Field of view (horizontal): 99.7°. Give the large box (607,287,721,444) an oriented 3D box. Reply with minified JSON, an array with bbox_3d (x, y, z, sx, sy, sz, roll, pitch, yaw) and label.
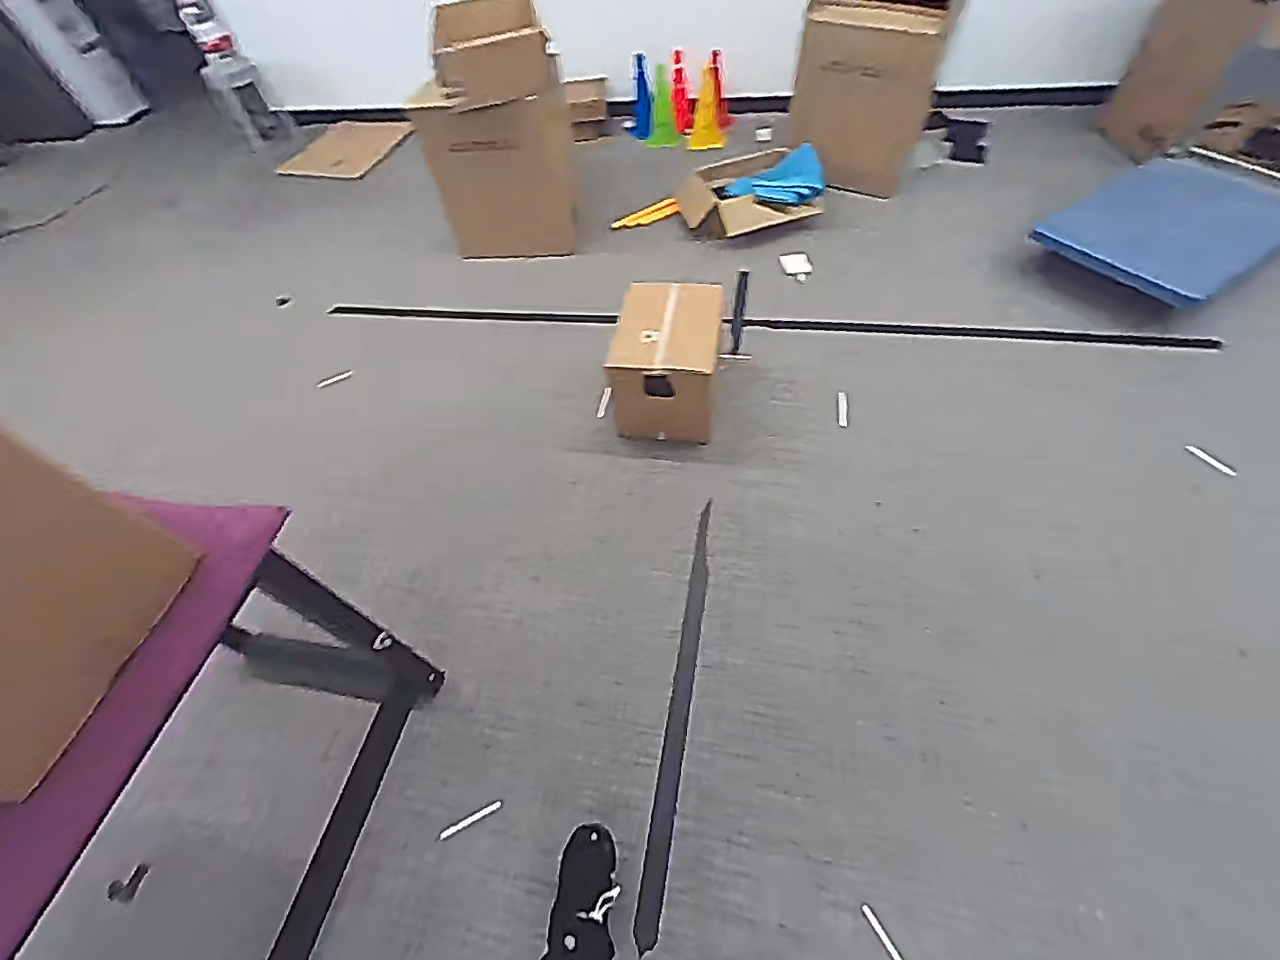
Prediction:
[{"bbox_3d":[0.093,-0.374,1.760,0.320,0.320,0.408,4,56,10],"label":"large box"}]
